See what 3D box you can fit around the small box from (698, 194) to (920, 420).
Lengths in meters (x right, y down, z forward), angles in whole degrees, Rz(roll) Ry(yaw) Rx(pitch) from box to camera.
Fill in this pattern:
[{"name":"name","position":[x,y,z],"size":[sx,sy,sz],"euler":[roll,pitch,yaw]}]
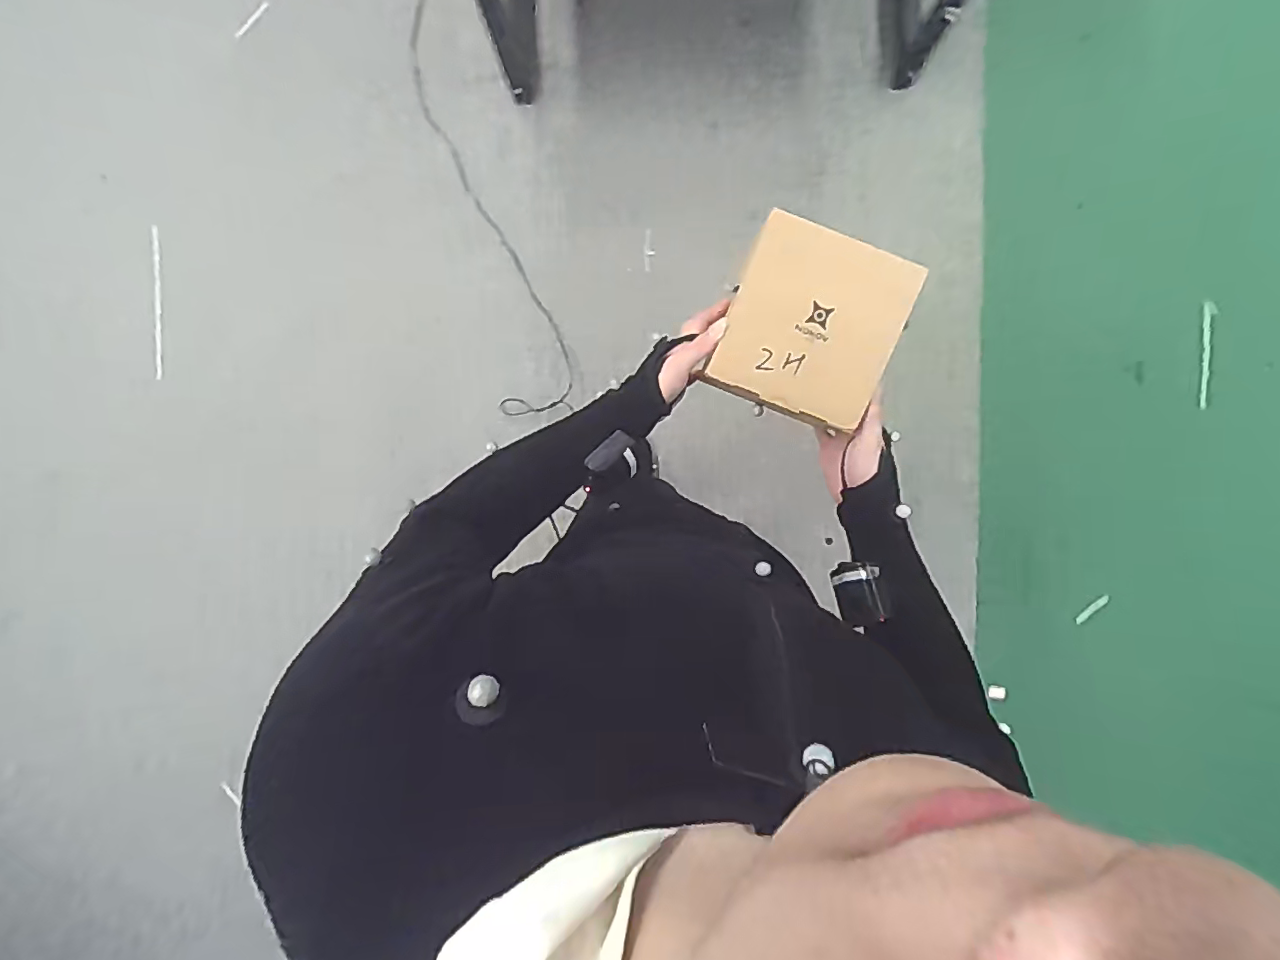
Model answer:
[{"name":"small box","position":[0.171,-0.181,0.615],"size":[0.168,0.176,0.179],"euler":[22,99,0]}]
